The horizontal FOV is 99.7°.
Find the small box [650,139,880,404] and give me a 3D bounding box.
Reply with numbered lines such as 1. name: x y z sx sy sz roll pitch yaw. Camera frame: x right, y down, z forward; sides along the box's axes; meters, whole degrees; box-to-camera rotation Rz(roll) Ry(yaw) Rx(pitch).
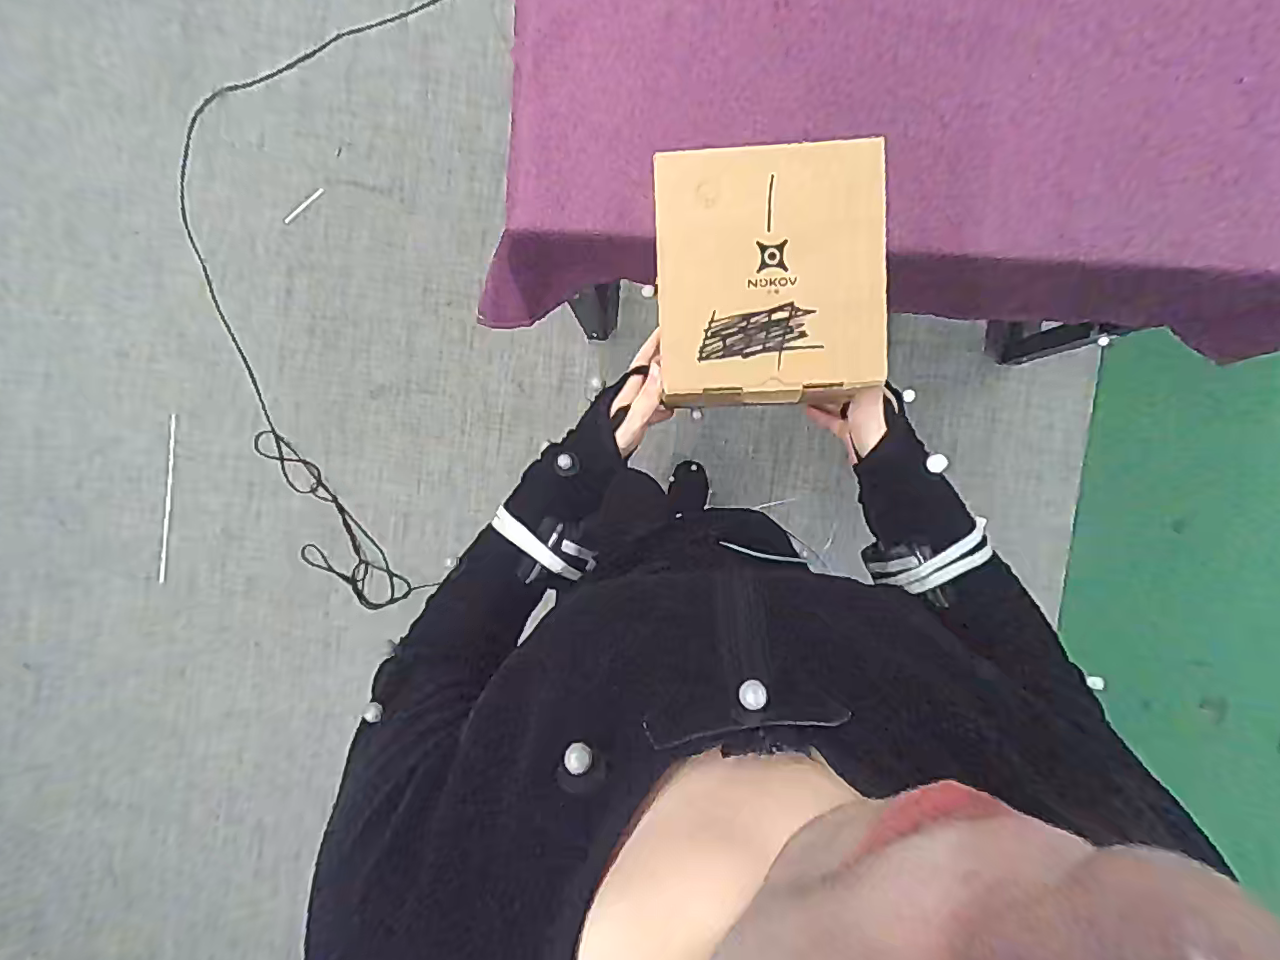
1. small box: 0.096 -0.159 0.474 0.168 0.176 0.179 -2 93 3
